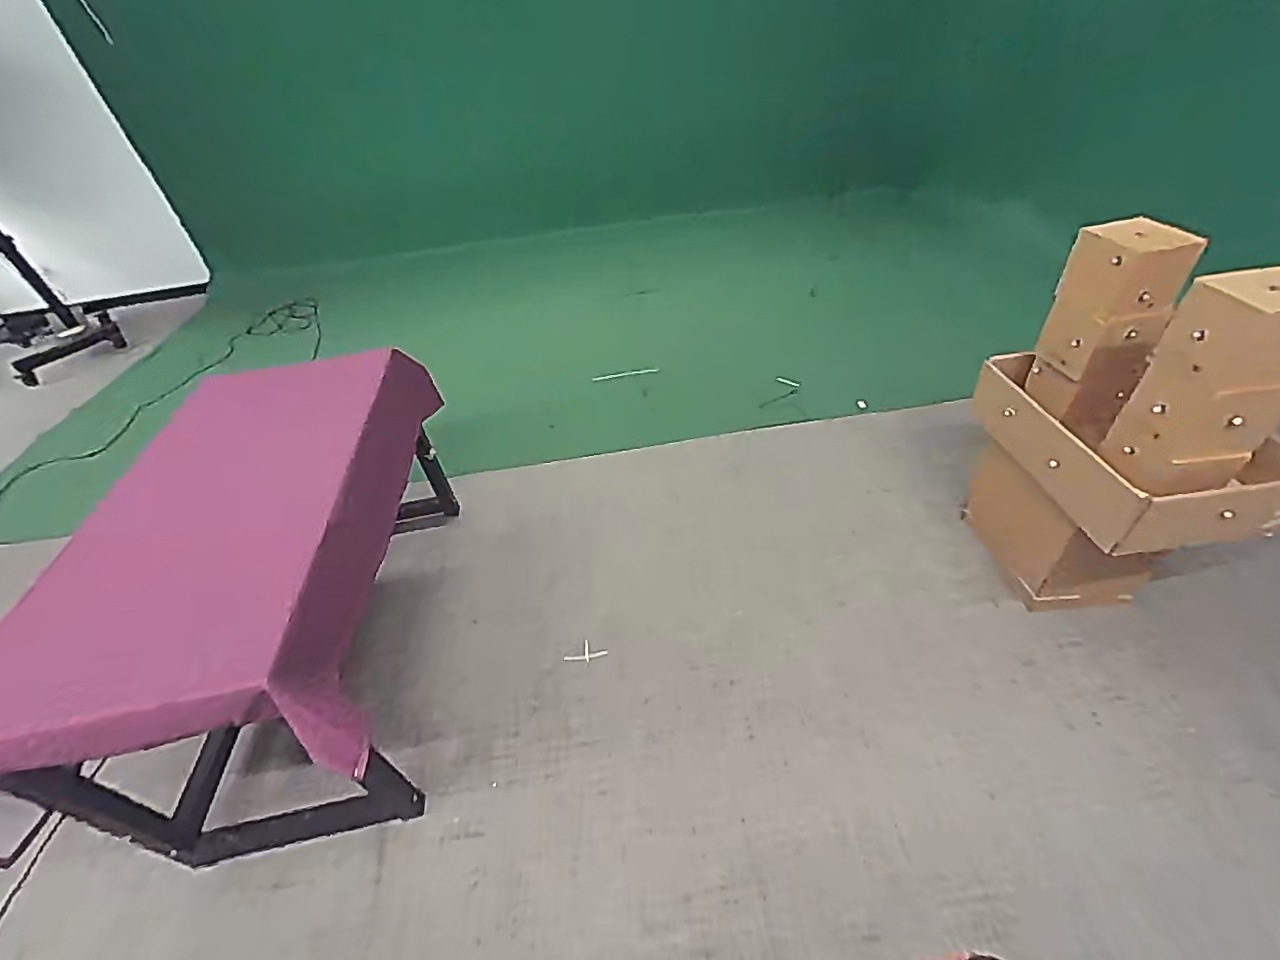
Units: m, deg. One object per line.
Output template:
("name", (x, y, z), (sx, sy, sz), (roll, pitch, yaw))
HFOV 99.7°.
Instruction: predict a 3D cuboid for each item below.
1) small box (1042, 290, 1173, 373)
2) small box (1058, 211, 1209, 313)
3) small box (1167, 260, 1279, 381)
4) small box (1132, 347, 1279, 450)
("small box", (1.187, -0.394, 1.397), (0.179, 0.176, 0.168), (-11, 42, -2))
("small box", (1.166, -0.523, 1.299), (0.168, 0.176, 0.179), (-12, 43, -3))
("small box", (1.191, -0.306, 1.049), (0.179, 0.176, 0.168), (-6, 42, 3))
("small box", (1.213, -0.180, 1.155), (0.179, 0.176, 0.168), (-7, 42, 3))
